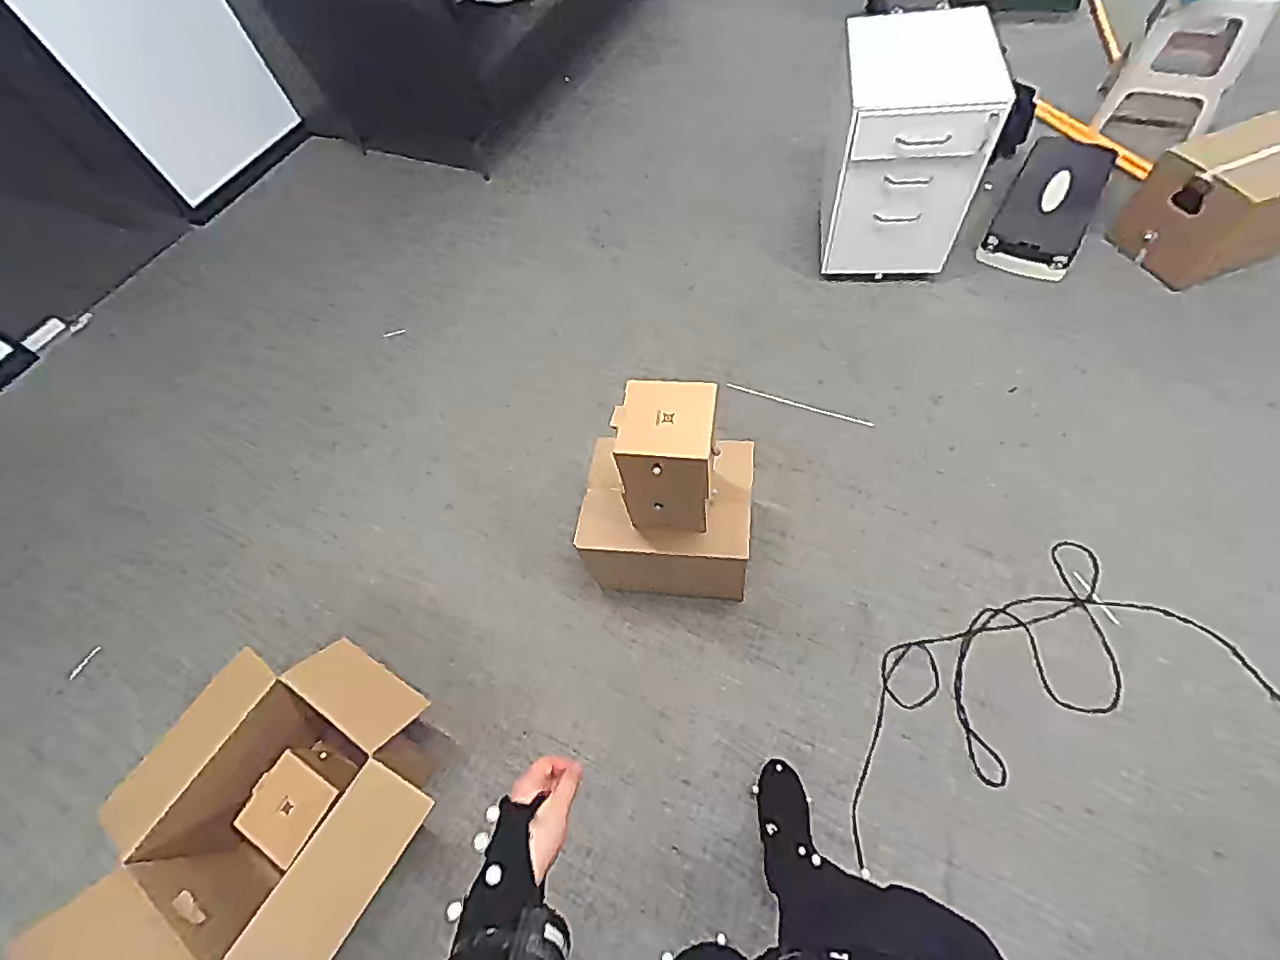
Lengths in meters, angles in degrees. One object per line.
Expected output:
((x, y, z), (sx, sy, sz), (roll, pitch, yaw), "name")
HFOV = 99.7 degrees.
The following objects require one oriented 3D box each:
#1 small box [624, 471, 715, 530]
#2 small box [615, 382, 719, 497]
((0.074, 0.002, 1.216), (0.179, 0.176, 0.168), (3, 62, 11), "small box")
((0.063, -0.075, 1.072), (0.179, 0.176, 0.168), (3, 63, 12), "small box")
